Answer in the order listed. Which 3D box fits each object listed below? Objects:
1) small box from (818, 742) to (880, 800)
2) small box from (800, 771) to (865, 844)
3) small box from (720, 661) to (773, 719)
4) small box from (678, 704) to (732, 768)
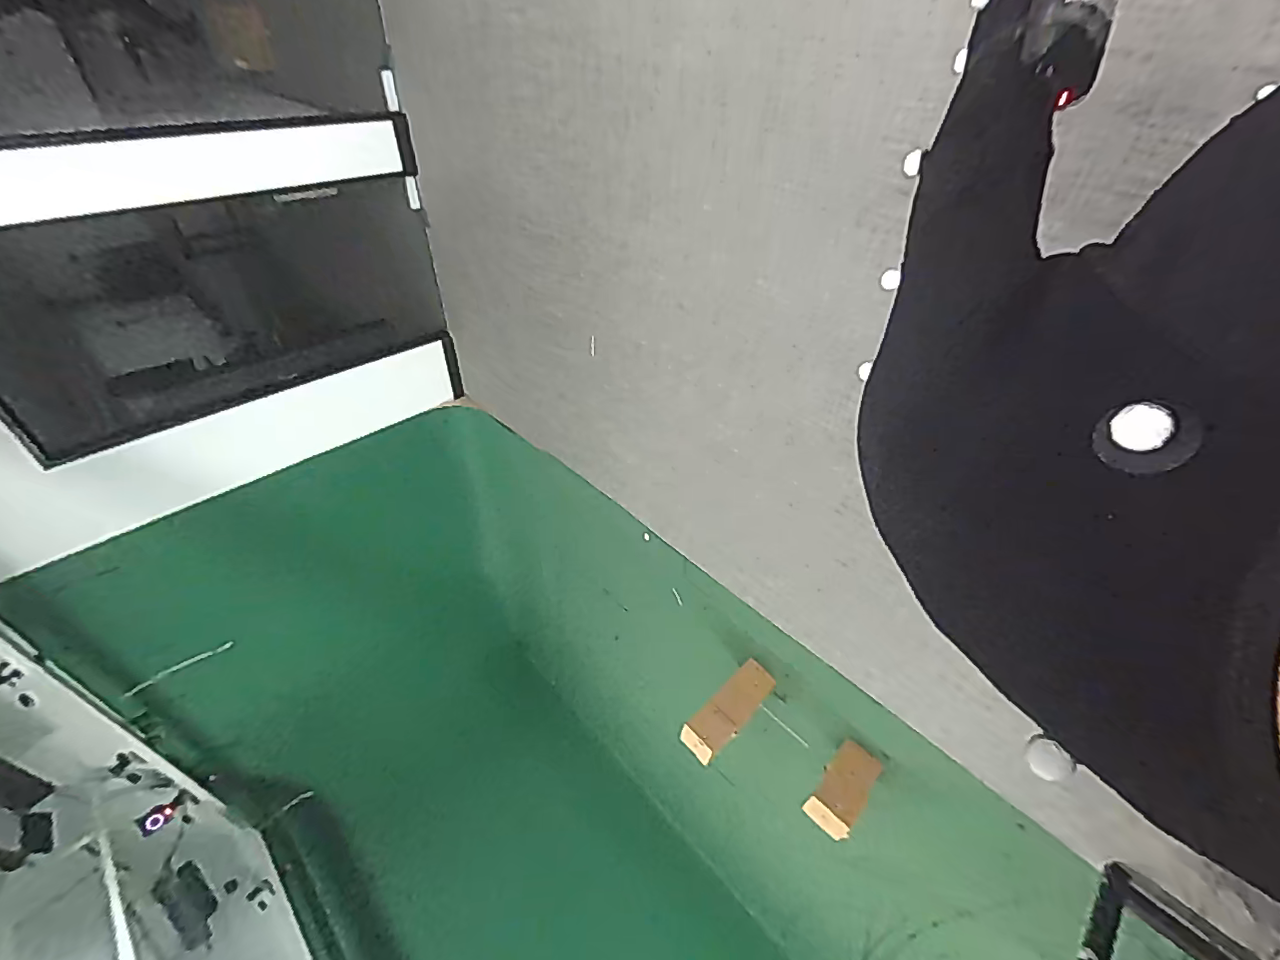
[{"bbox_3d":[0.914,1.291,2.360,0.179,0.176,0.168,34,138,32],"label":"small box"},{"bbox_3d":[0.808,1.366,2.262,0.179,0.176,0.168,37,139,30],"label":"small box"},{"bbox_3d":[0.527,1.026,2.655,0.168,0.176,0.179,41,142,25],"label":"small box"},{"bbox_3d":[0.298,1.163,2.462,0.168,0.176,0.179,39,142,29],"label":"small box"}]
